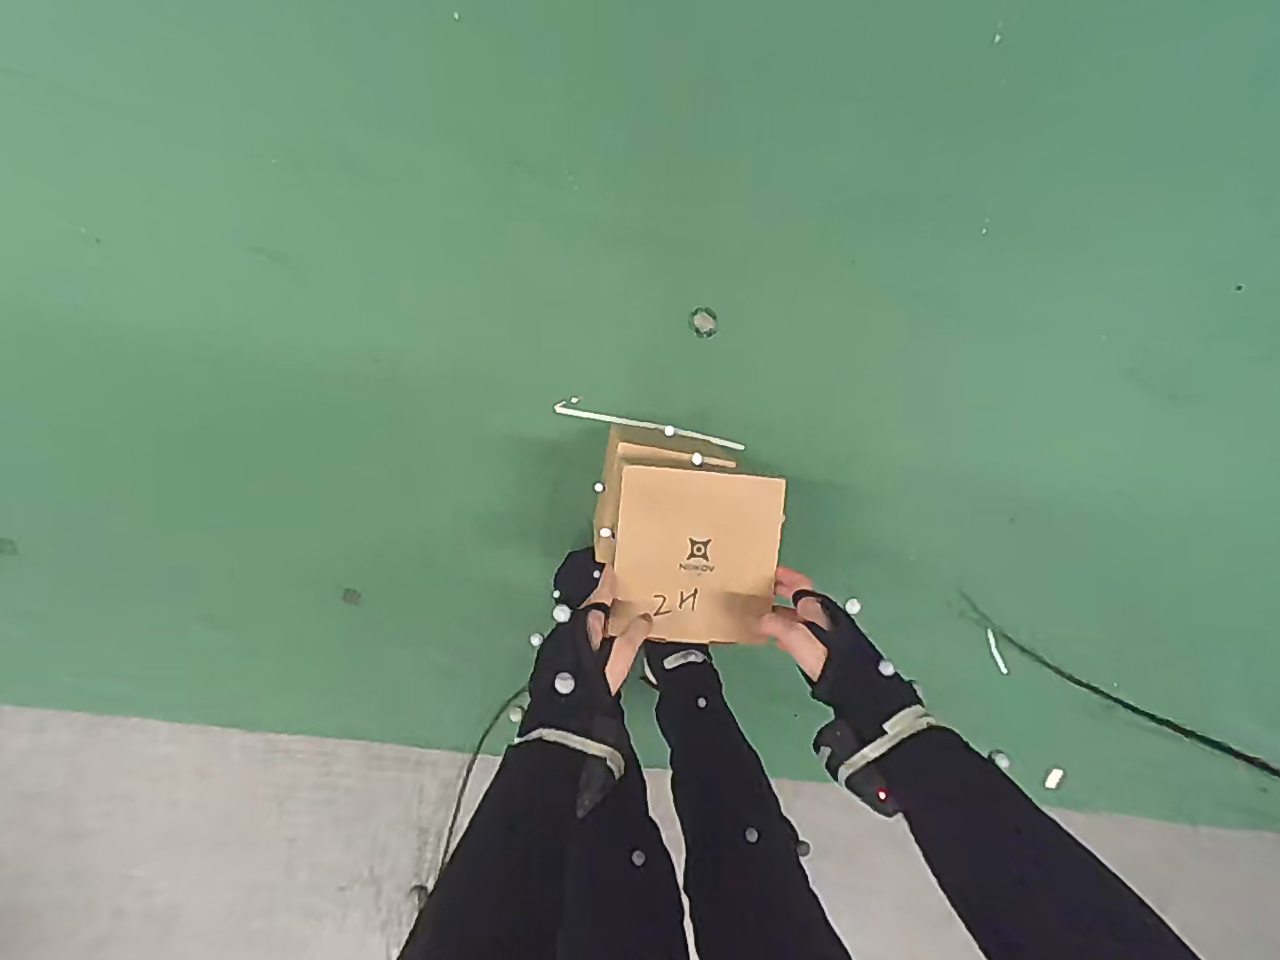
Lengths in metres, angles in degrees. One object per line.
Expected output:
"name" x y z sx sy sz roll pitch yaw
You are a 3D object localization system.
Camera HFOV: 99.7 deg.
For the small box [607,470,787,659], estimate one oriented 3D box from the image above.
"small box" 0.052 0.083 0.615 0.168 0.176 0.179 6 93 -4
